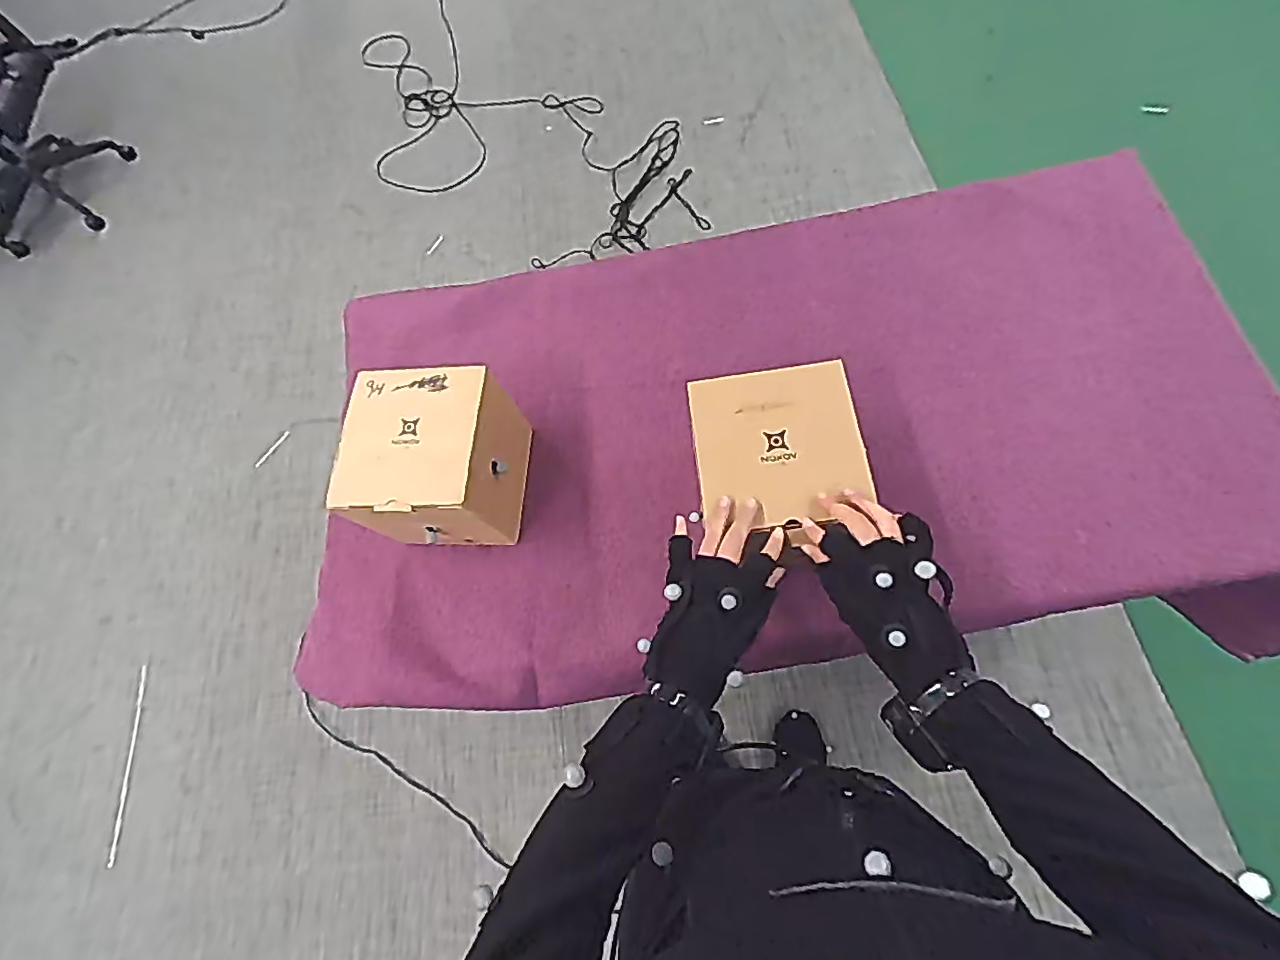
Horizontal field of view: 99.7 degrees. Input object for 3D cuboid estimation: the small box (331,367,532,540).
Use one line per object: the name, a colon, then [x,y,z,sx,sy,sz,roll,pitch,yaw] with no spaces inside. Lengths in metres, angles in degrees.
small box: [-0.246,-0.024,0.687,0.168,0.176,0.179,0,70,9]

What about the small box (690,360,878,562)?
small box: [0.151,-0.008,0.618,0.168,0.176,0.179,-7,68,6]
